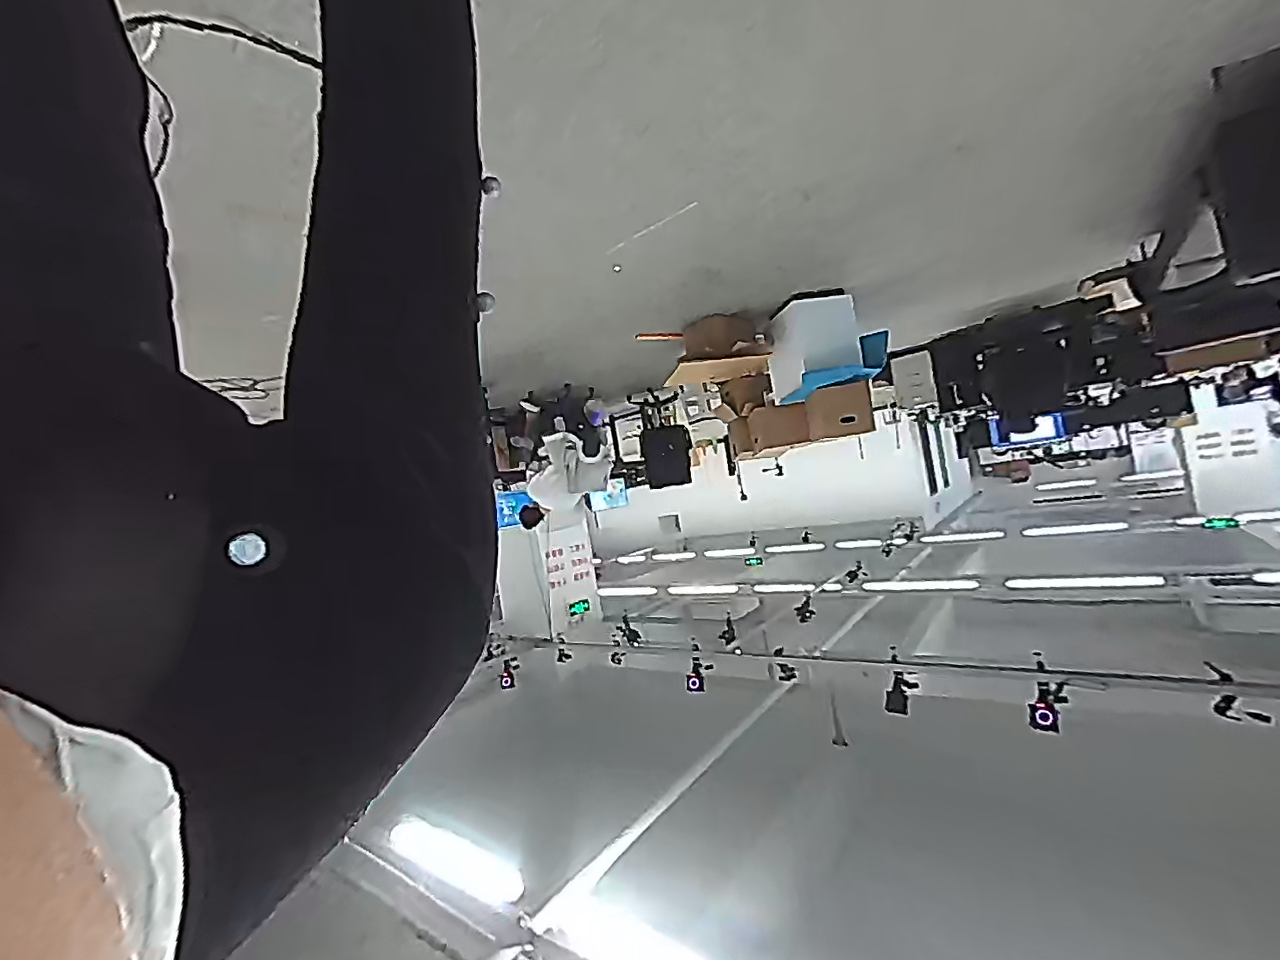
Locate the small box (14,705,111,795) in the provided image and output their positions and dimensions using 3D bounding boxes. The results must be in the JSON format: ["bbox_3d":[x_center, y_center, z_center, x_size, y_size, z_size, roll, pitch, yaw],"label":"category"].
[{"bbox_3d":[-1.682,0.773,1.578,0.168,0.176,0.179,-9,179,43],"label":"small box"}]
